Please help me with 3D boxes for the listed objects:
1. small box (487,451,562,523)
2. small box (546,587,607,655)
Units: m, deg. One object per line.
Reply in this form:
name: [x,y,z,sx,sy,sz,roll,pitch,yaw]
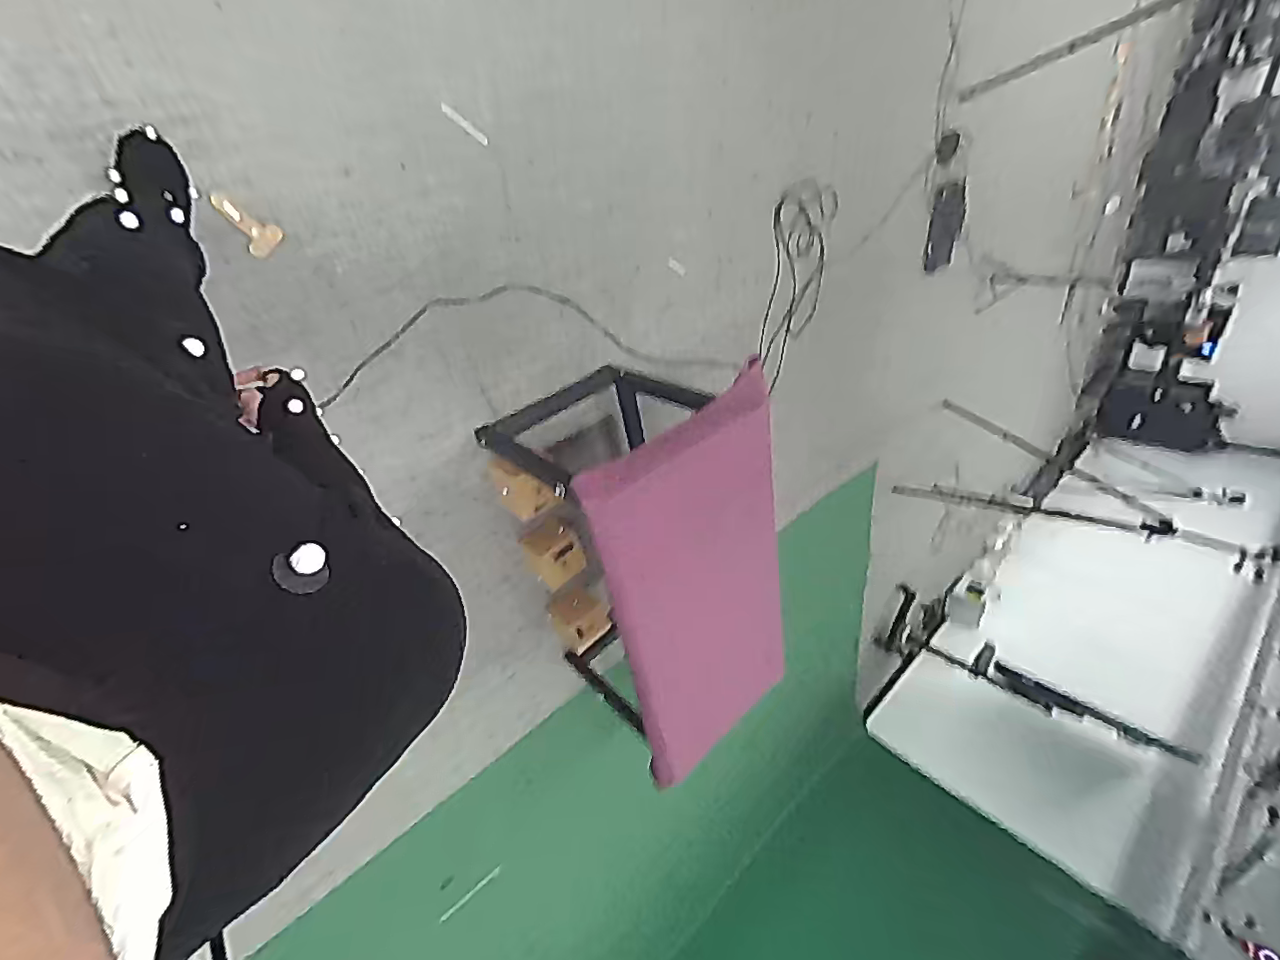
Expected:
small box: [-0.396,0.013,1.844,0.168,0.176,0.179,-30,126,-31]
small box: [-0.267,0.574,2.220,0.179,0.176,0.168,-35,130,-28]
